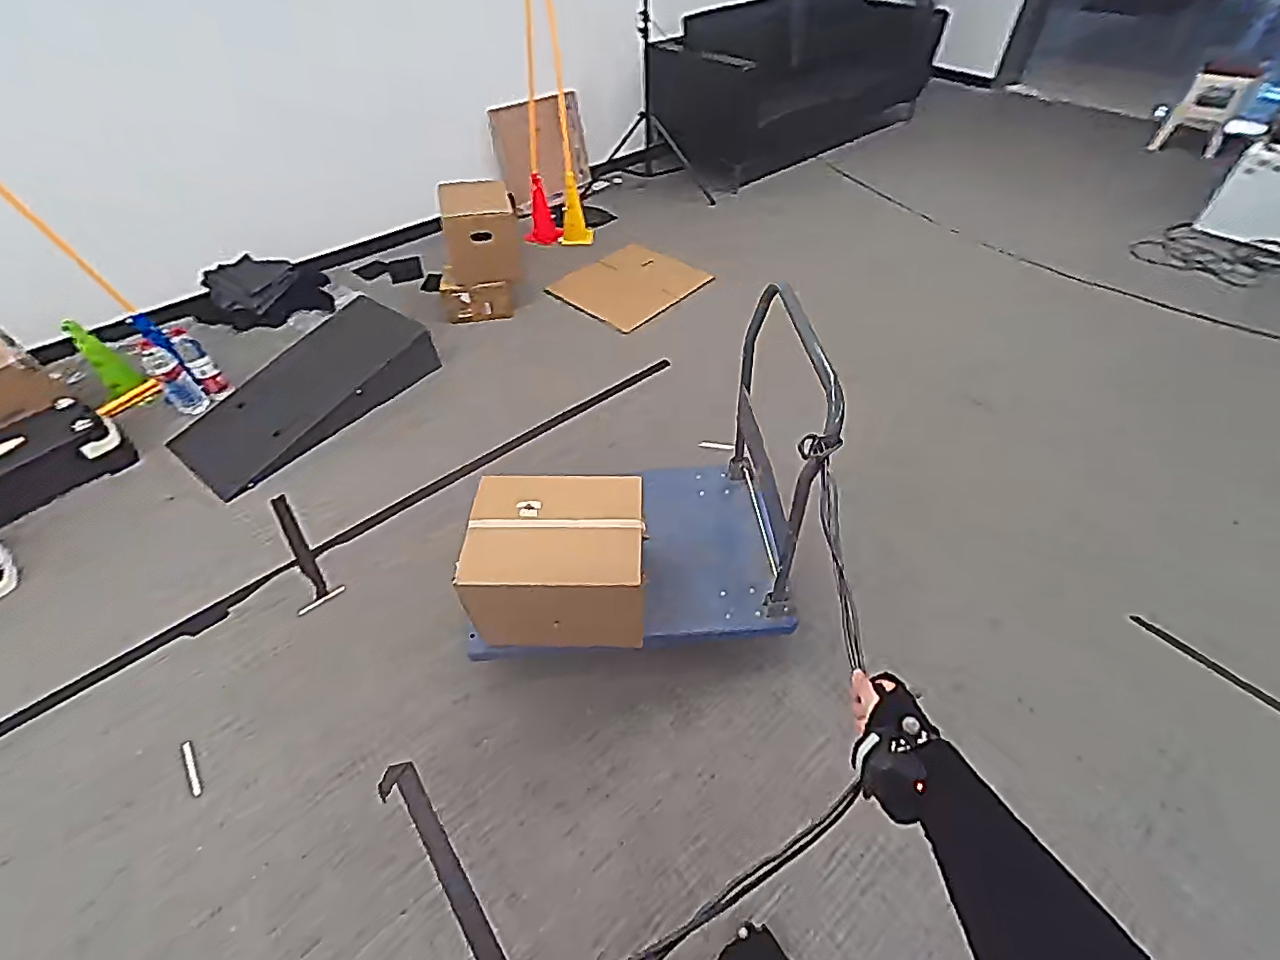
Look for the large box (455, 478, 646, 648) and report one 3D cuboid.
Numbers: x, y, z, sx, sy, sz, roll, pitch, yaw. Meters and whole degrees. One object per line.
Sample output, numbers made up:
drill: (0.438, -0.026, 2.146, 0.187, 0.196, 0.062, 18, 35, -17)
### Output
large box: (-0.190, 0.211, 1.347, 0.408, 0.320, 0.320, -1, 48, 2)
